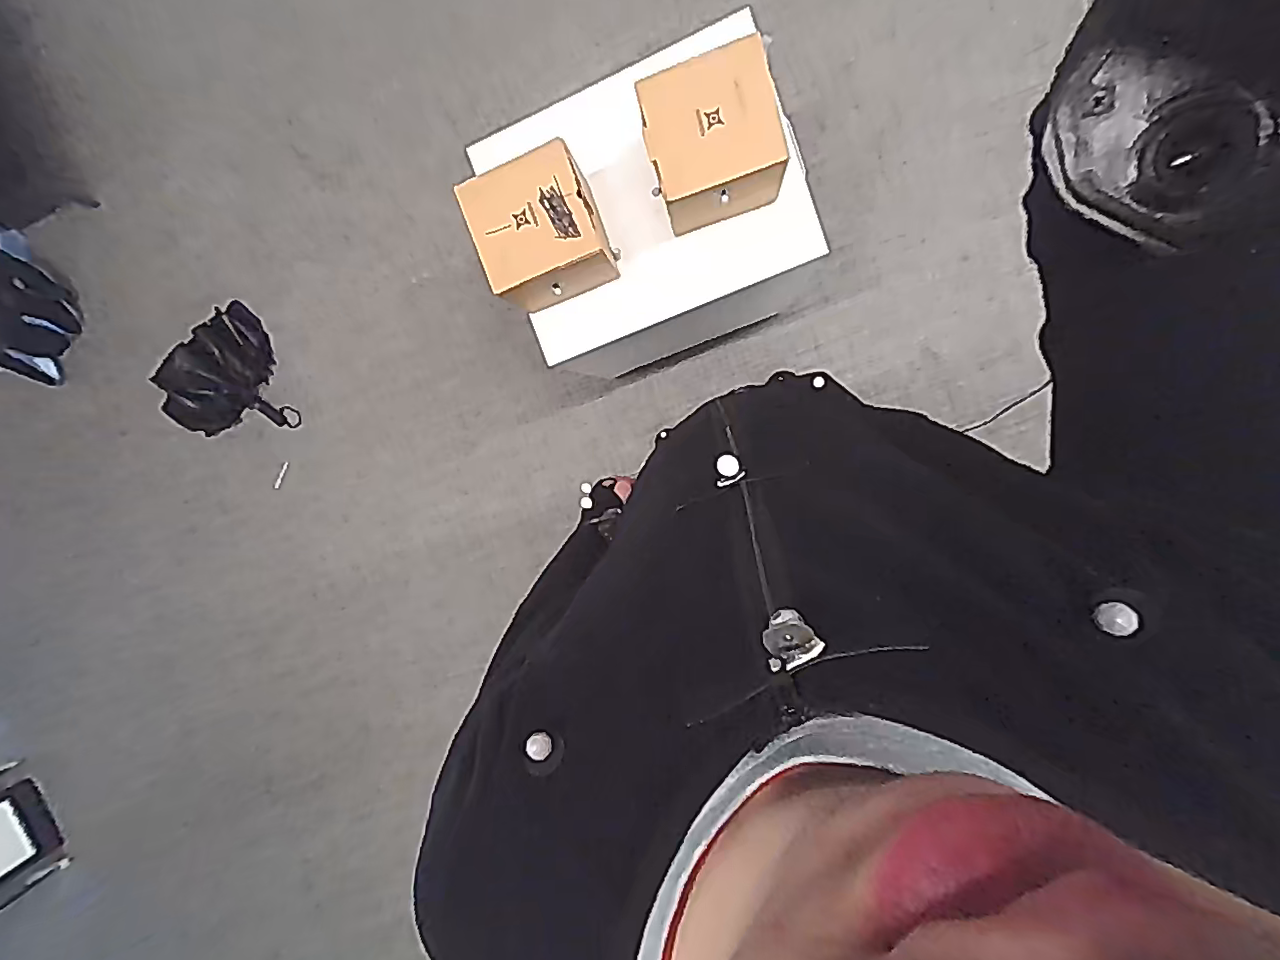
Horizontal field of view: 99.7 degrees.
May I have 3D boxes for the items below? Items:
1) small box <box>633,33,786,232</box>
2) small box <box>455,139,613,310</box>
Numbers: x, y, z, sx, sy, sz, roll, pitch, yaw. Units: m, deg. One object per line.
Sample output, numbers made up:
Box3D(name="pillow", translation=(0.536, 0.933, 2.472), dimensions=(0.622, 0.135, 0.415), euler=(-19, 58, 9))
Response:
Box3D(name="small box", translation=(0.104, -0.495, 0.804), dimensions=(0.179, 0.176, 0.168), euler=(-15, 97, 9))
Box3D(name="small box", translation=(-0.152, -0.387, 0.853), dimensions=(0.179, 0.176, 0.168), euler=(-19, 95, 10))
